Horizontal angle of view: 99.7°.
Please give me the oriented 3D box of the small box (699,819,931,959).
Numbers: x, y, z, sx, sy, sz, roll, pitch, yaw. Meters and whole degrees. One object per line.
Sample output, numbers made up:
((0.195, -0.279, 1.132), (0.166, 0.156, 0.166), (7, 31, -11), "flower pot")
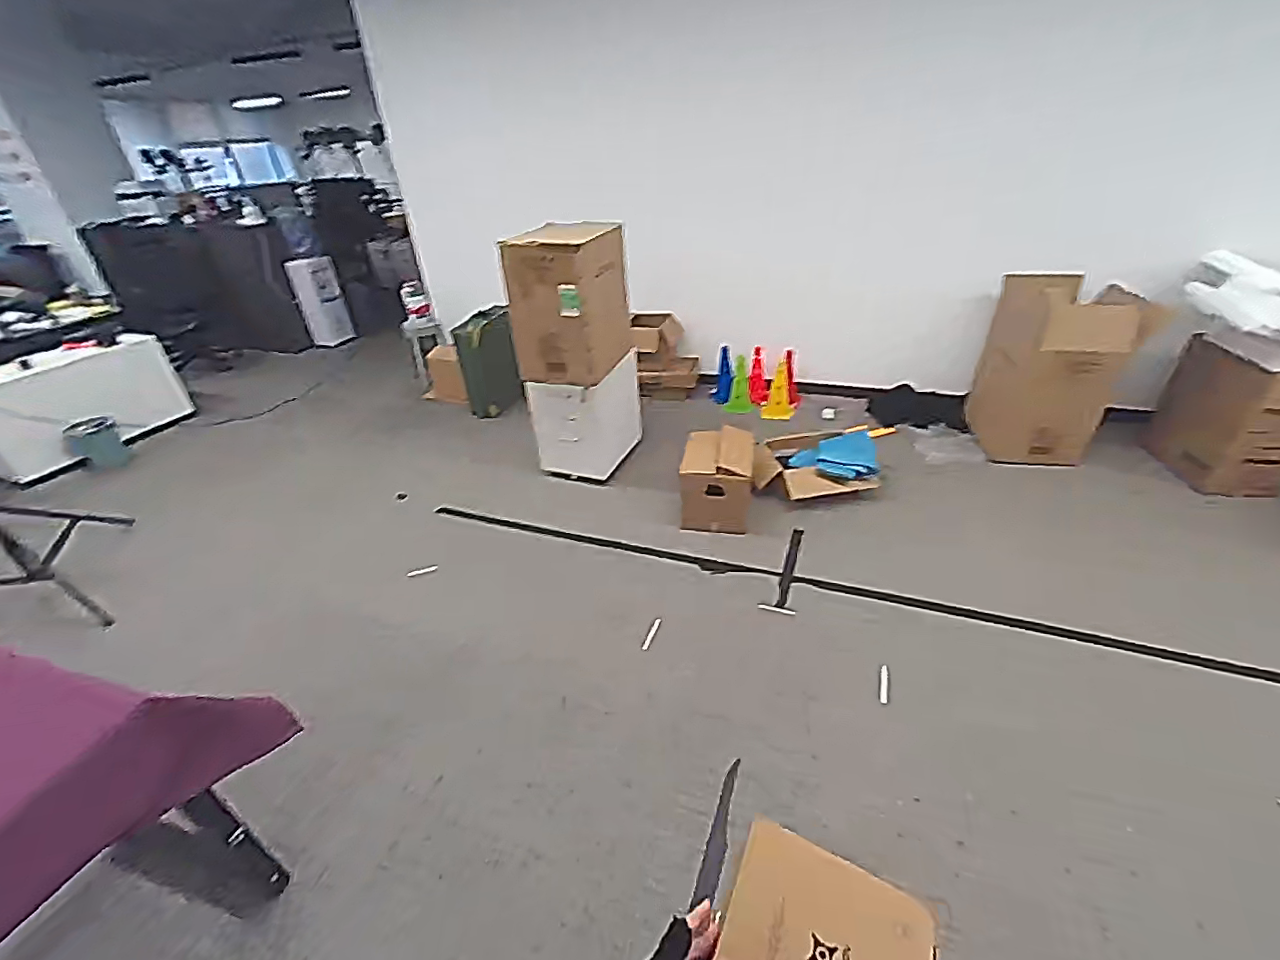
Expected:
((0.150, 0.471, 0.509), (0.179, 0.176, 0.168), (17, 38, 18), "small box")
